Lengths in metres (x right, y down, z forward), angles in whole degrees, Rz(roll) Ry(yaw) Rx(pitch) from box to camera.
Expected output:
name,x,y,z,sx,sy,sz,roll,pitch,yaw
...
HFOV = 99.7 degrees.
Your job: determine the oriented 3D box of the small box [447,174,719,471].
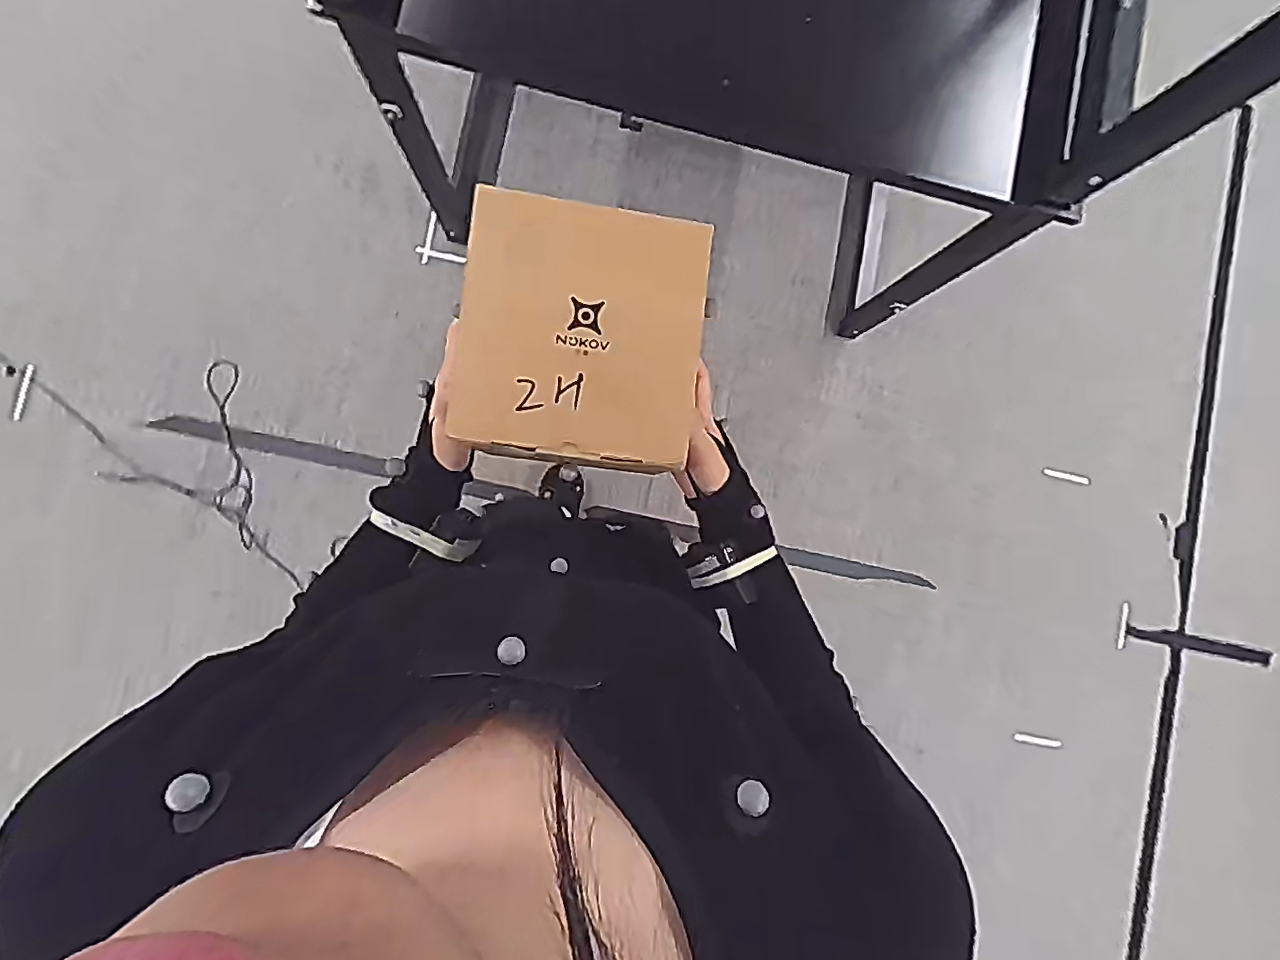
name,x,y,z,sx,sy,sz,roll,pitch,yaw
small box,-0.045,-0.105,0.442,0.168,0.176,0.179,7,88,-6
